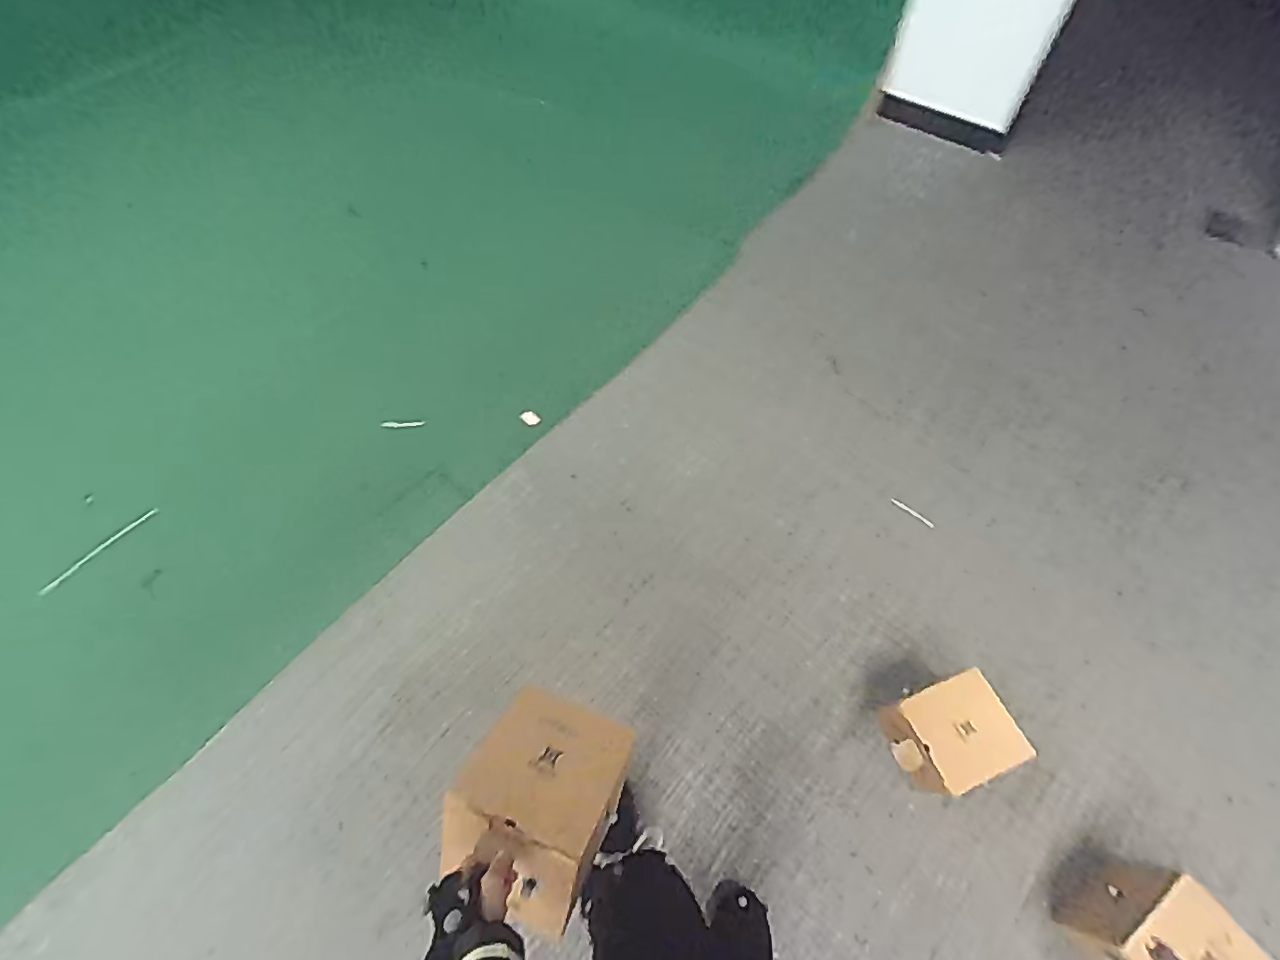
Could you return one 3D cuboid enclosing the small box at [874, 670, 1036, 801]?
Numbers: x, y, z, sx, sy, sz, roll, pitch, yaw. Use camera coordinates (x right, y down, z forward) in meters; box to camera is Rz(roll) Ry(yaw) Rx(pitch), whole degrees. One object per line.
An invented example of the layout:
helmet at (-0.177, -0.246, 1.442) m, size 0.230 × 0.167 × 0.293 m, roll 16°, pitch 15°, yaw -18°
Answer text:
small box at (0.586, 0.484, 1.034) m, size 0.179 × 0.176 × 0.168 m, roll -22°, pitch 64°, yaw -7°
